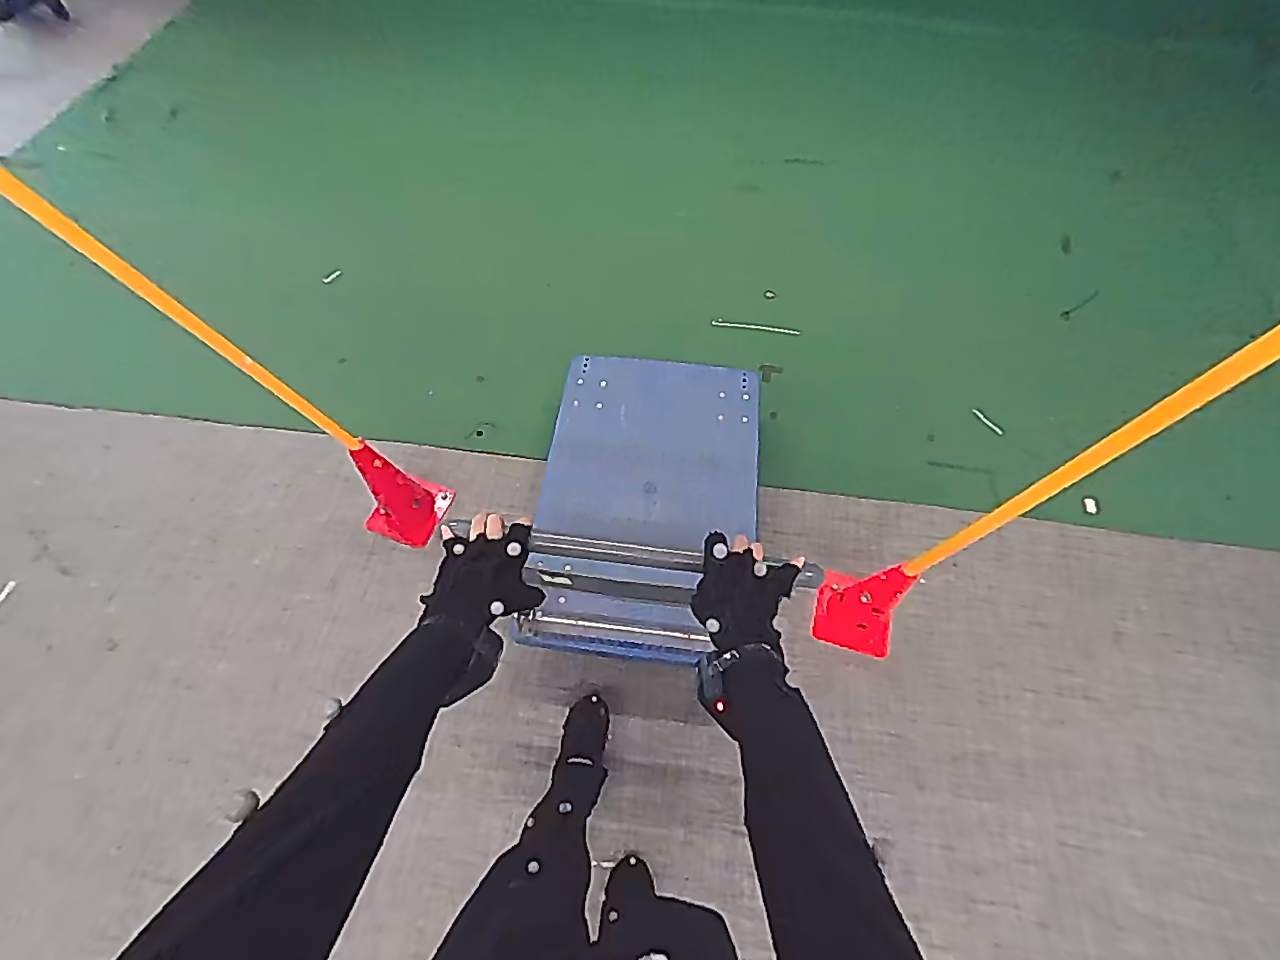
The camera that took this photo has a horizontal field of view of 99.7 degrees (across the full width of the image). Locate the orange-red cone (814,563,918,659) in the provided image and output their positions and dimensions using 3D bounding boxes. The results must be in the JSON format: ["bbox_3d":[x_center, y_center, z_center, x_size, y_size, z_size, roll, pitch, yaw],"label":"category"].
[{"bbox_3d":[0.577,0.279,1.303,0.198,0.360,0.199,16,63,9],"label":"orange-red cone"}]
